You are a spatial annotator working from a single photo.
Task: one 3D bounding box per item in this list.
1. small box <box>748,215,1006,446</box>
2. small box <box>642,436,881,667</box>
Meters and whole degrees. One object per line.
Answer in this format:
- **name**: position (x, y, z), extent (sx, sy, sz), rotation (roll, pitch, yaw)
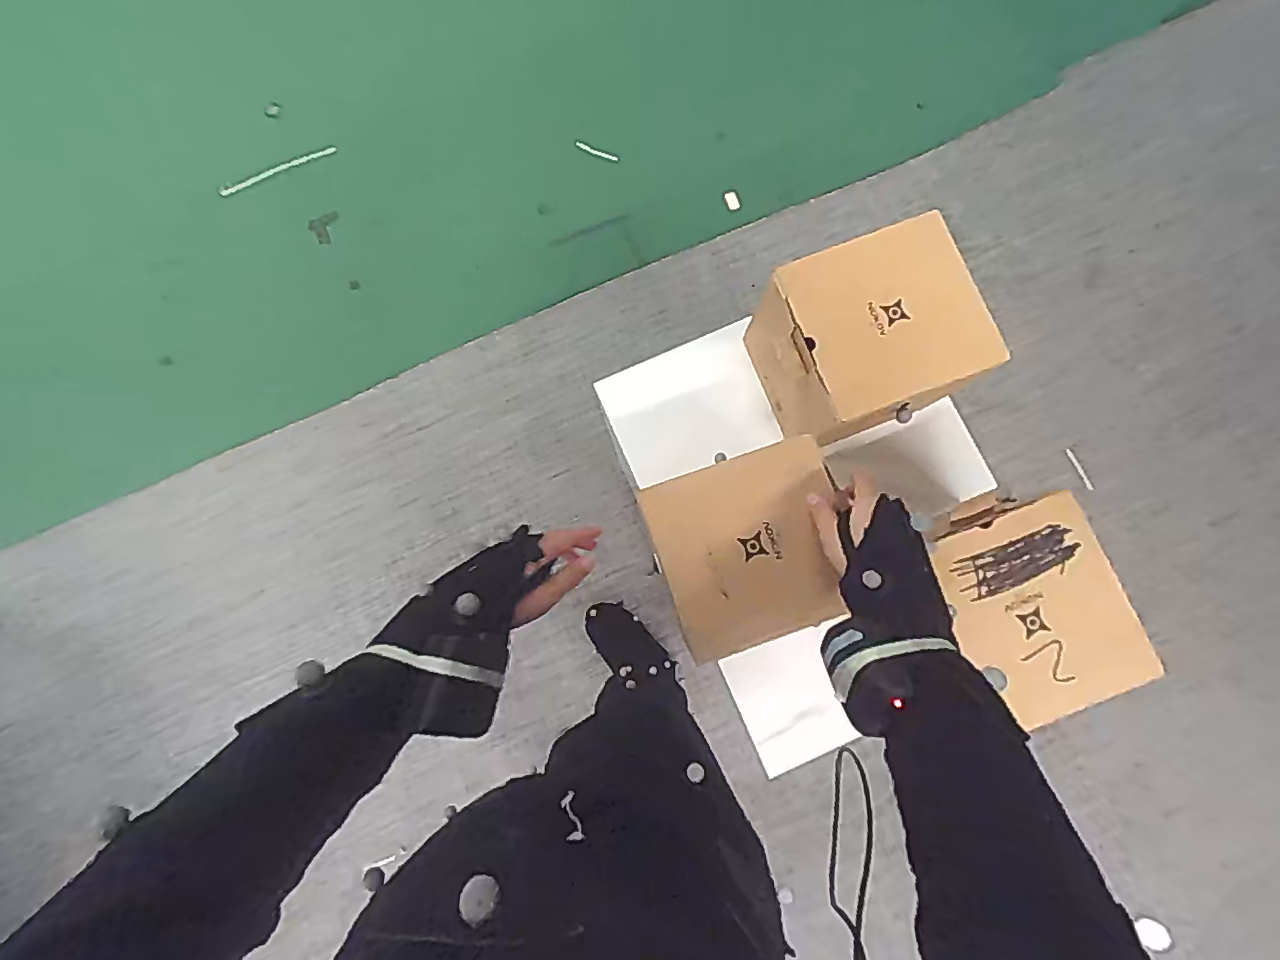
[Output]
- **small box**: position (0.239, -0.145, 0.593), extent (0.179, 0.176, 0.168), rotation (-21, 82, -1)
- **small box**: position (0.107, 0.074, 0.561), extent (0.179, 0.176, 0.168), rotation (-19, 79, -2)
